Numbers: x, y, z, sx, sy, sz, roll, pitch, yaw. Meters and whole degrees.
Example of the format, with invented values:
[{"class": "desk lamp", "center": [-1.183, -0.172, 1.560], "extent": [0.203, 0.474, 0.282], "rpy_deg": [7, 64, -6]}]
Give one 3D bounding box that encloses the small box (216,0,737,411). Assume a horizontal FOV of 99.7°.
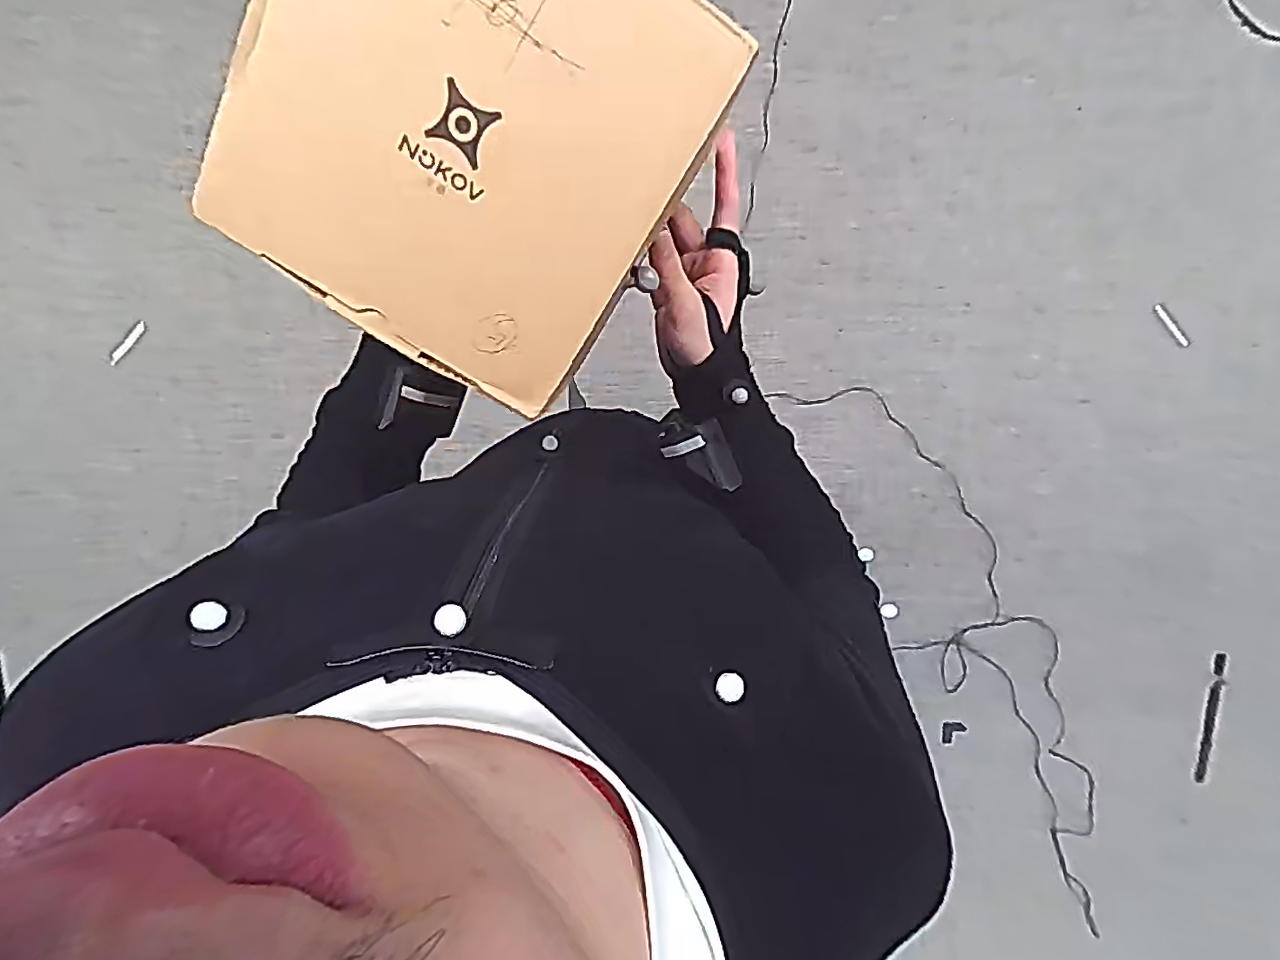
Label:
[{"class": "small box", "center": [-0.071, -0.168, 0.299], "extent": [0.168, 0.176, 0.179], "rpy_deg": [31, 107, -11]}]
